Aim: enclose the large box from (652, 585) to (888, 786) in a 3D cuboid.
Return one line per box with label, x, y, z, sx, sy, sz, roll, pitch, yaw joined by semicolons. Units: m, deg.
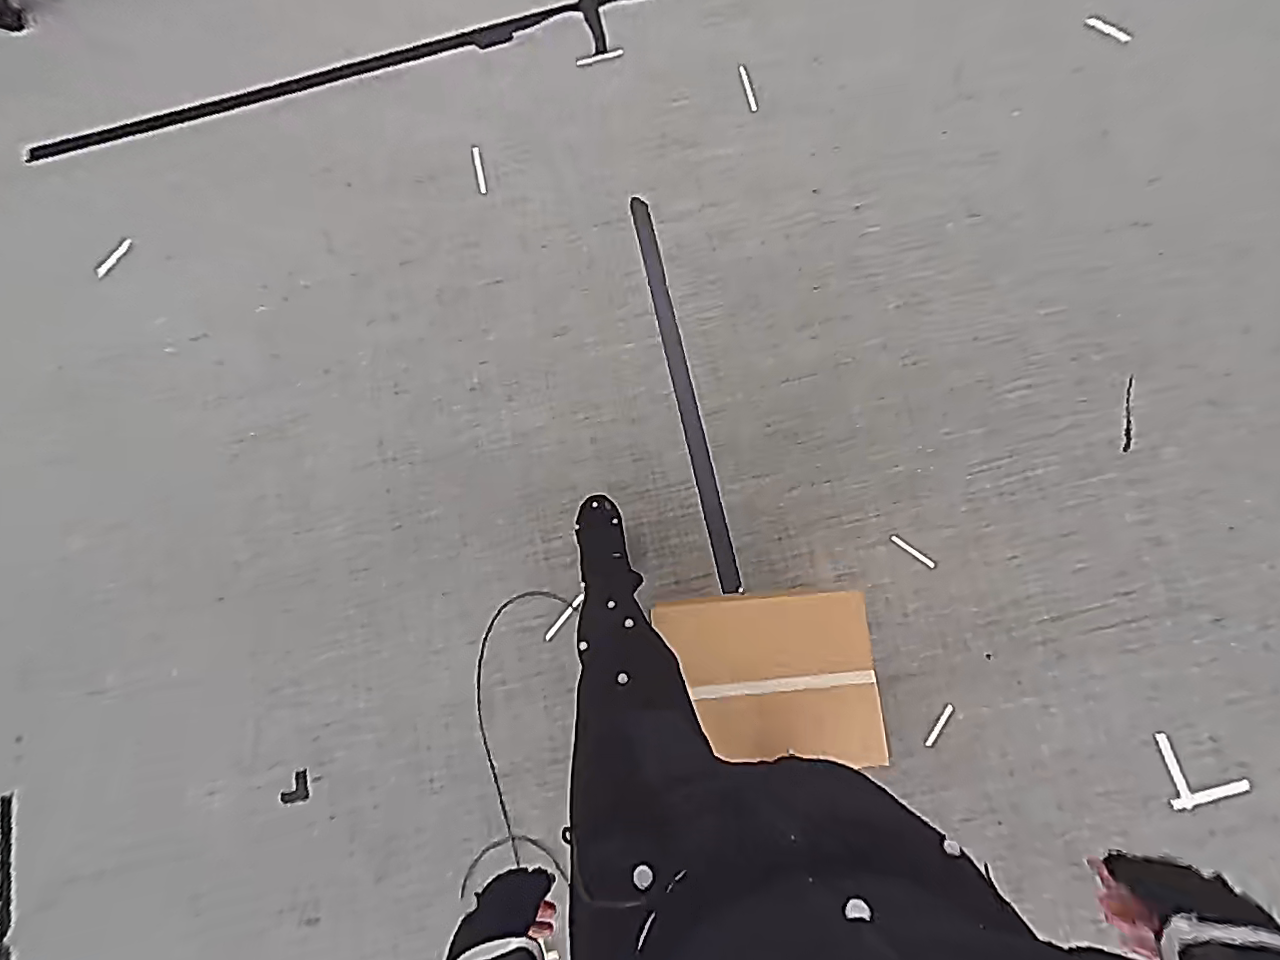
large box;0.243;0.406;1.148;0.408;0.320;0.320;-6;80;1
